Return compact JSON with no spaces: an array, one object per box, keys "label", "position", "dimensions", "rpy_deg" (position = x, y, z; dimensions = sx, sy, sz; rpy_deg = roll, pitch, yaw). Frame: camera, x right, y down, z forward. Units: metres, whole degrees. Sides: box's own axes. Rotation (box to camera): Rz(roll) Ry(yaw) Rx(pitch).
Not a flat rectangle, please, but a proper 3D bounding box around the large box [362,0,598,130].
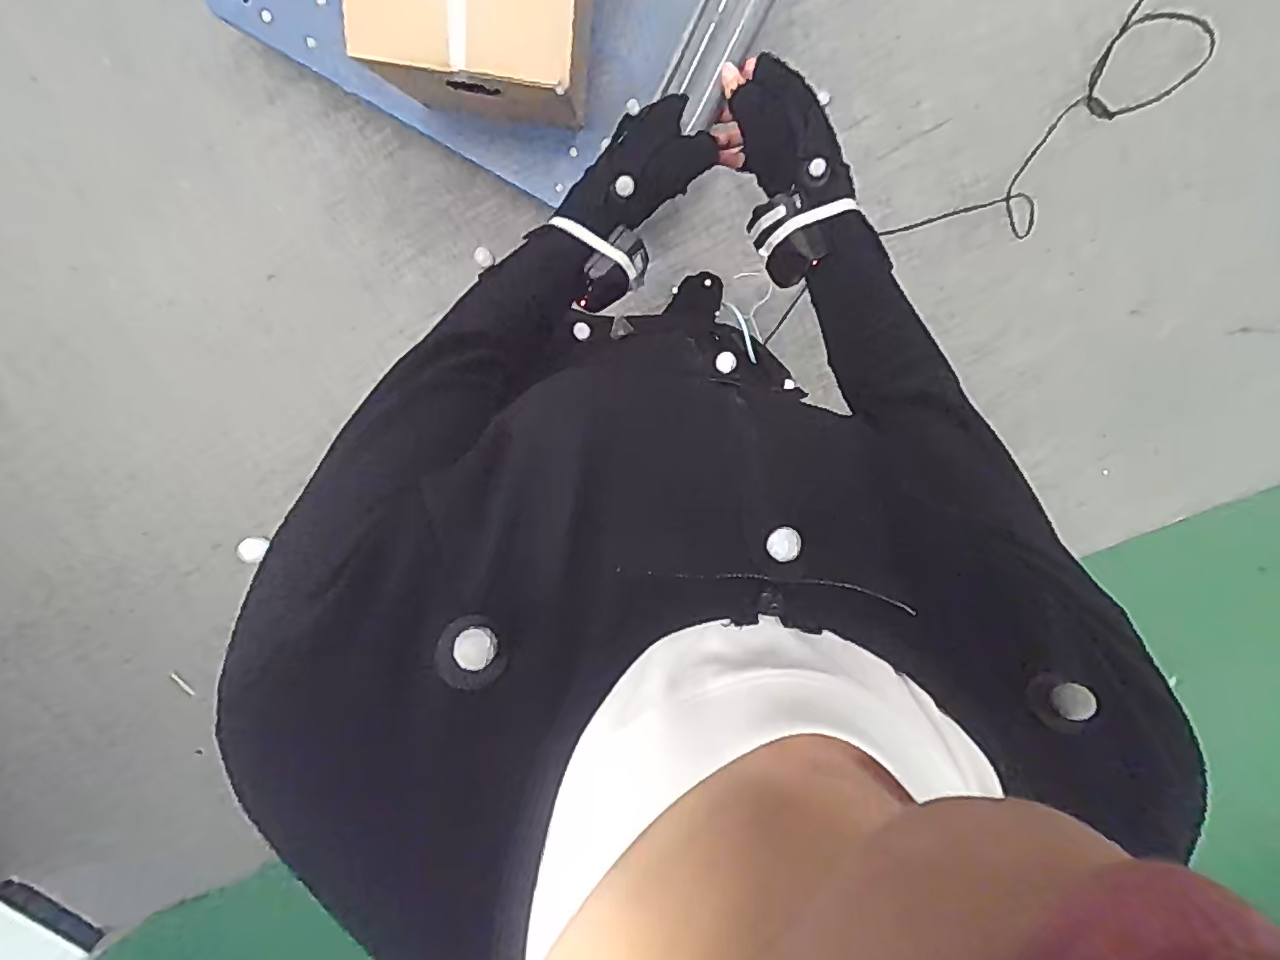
[{"label":"large box","position":[-0.220,-0.818,0.833],"dimensions":[0.320,0.320,0.408],"rpy_deg":[6,114,-4]}]
